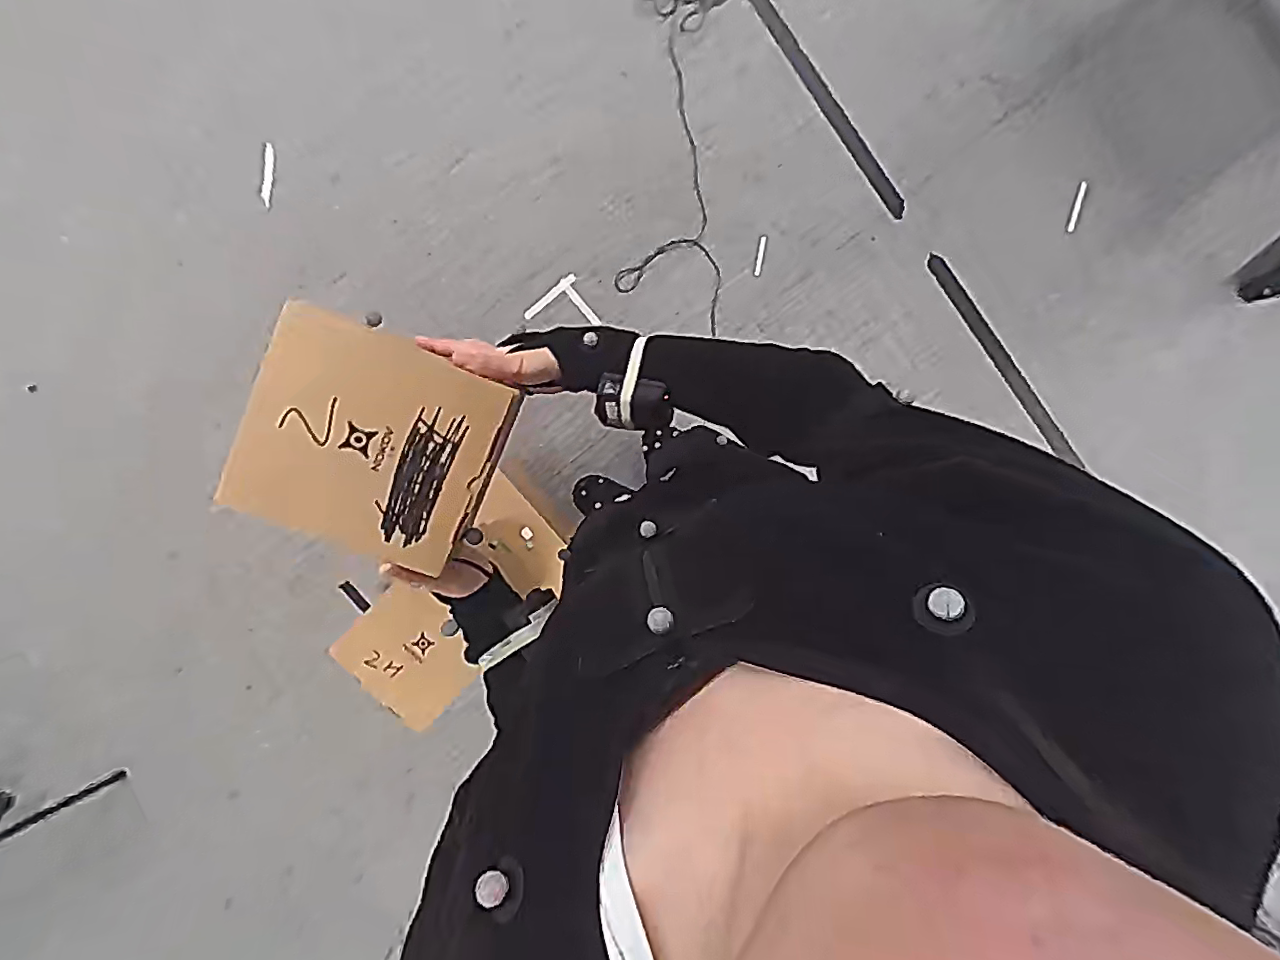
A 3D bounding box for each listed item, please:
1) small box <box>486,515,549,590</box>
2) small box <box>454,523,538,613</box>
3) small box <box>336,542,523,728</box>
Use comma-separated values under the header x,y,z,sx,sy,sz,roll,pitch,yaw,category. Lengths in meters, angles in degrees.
x,y,z,sx,sy,sz,roll,pitch,yaw,category
-0.308,0.193,1.122,0.179,0.176,0.168,-41,95,-1,small box
-0.298,0.196,0.960,0.179,0.176,0.168,-42,93,1,small box
-0.290,0.212,0.795,0.168,0.176,0.179,44,90,-3,small box
